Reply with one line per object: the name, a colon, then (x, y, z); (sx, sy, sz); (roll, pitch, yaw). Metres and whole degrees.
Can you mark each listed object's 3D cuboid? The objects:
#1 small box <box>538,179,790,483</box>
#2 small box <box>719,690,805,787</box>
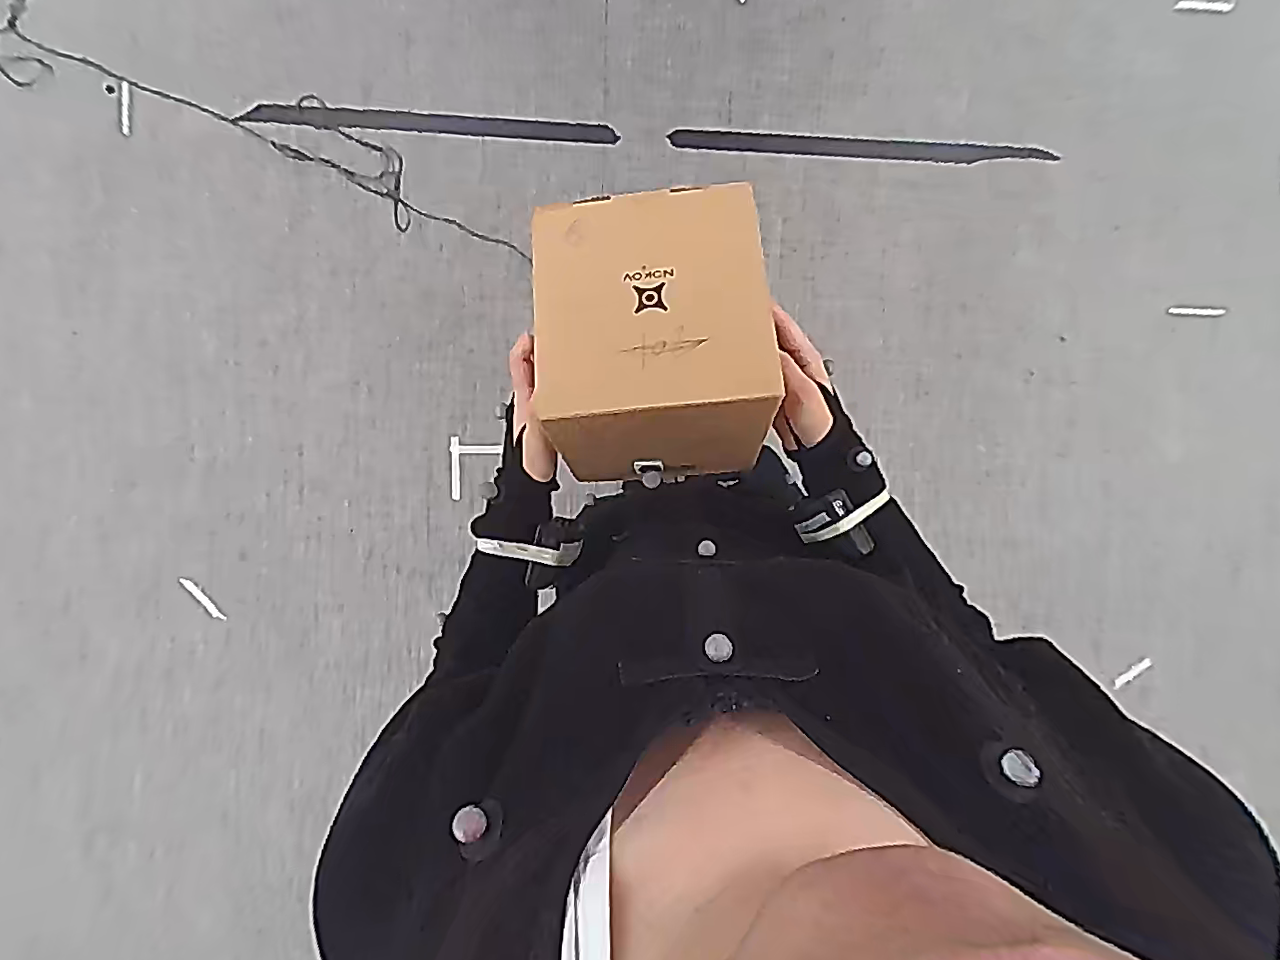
small box: (0.016, -0.109, 0.451); (0.168, 0.176, 0.179); (-6, 74, 3)
small box: (0.320, 0.682, 1.446); (0.179, 0.176, 0.168); (-9, 92, -1)
